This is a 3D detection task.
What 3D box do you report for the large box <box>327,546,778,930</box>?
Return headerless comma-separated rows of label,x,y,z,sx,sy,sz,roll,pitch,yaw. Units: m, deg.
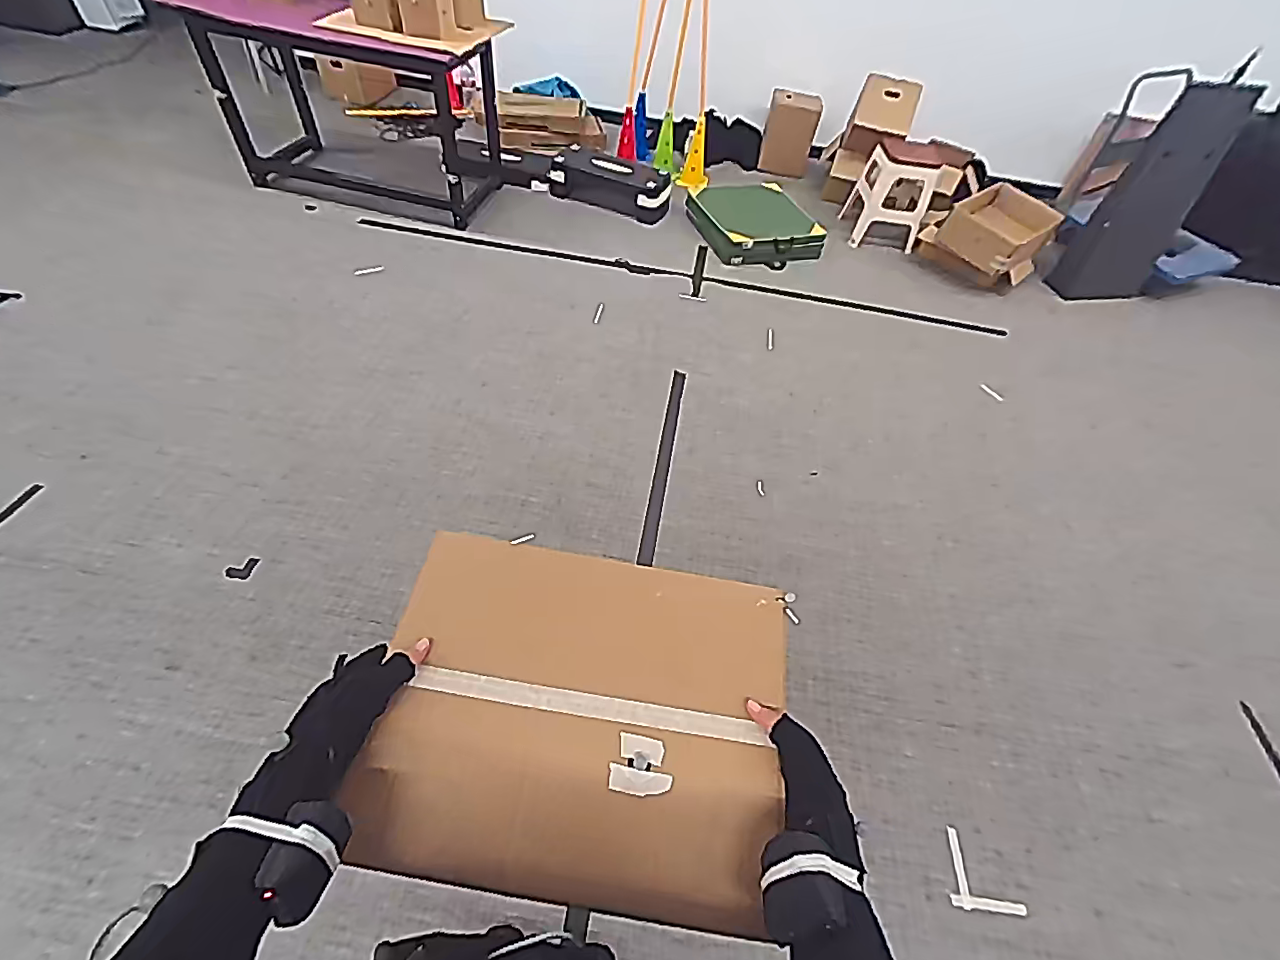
large box,-0.072,0.313,0.671,0.408,0.320,0.320,10,57,1
